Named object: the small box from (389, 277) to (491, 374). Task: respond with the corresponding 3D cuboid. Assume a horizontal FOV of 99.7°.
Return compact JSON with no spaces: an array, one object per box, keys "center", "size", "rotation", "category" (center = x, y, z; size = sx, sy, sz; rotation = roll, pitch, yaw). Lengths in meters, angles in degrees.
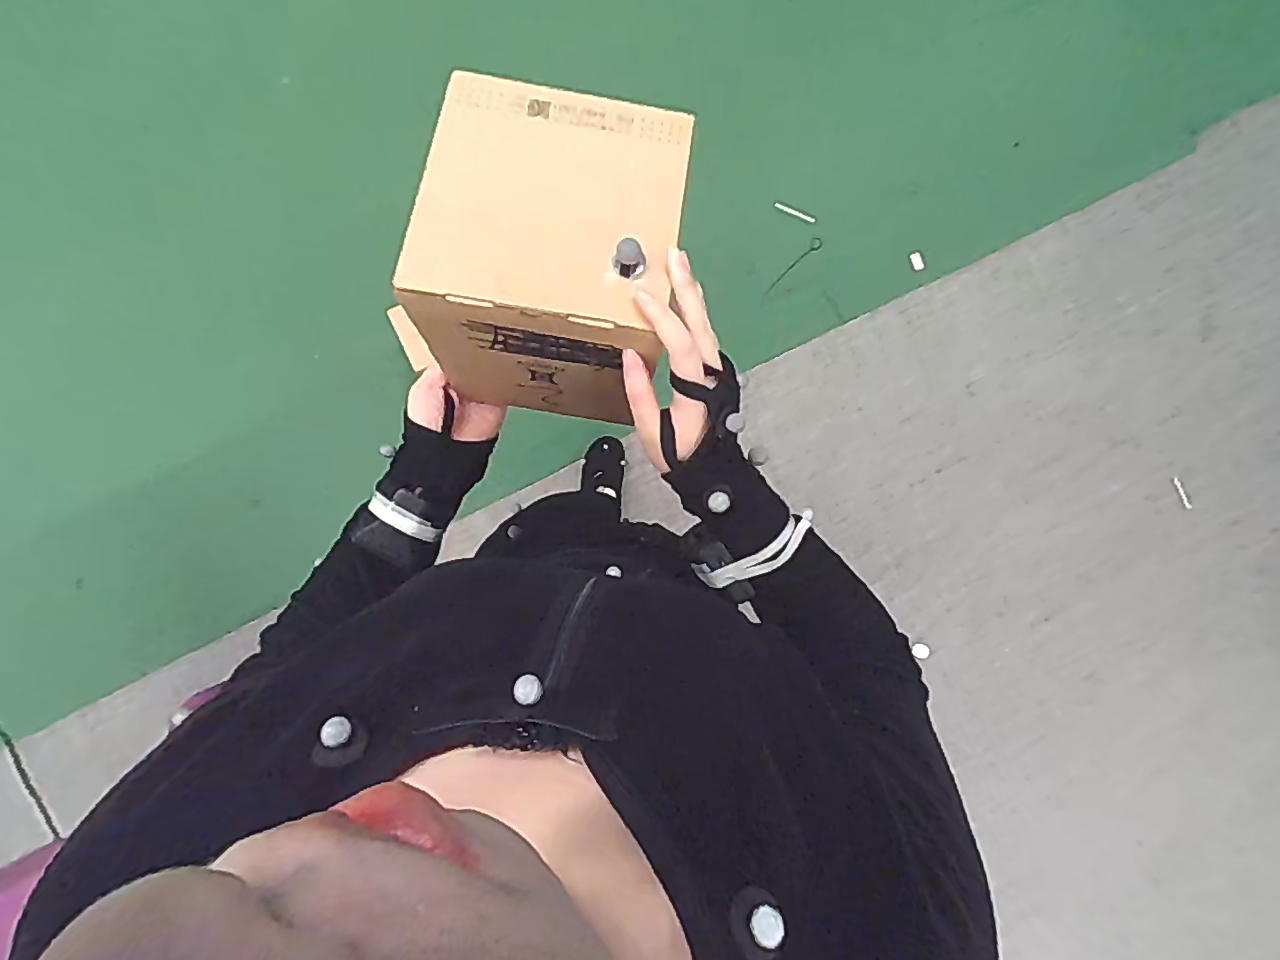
[{"center":[-0.498,-0.388,1.386],"size":[0.179,0.176,0.168],"rotation":[-24,92,-1],"category":"small box"}]
